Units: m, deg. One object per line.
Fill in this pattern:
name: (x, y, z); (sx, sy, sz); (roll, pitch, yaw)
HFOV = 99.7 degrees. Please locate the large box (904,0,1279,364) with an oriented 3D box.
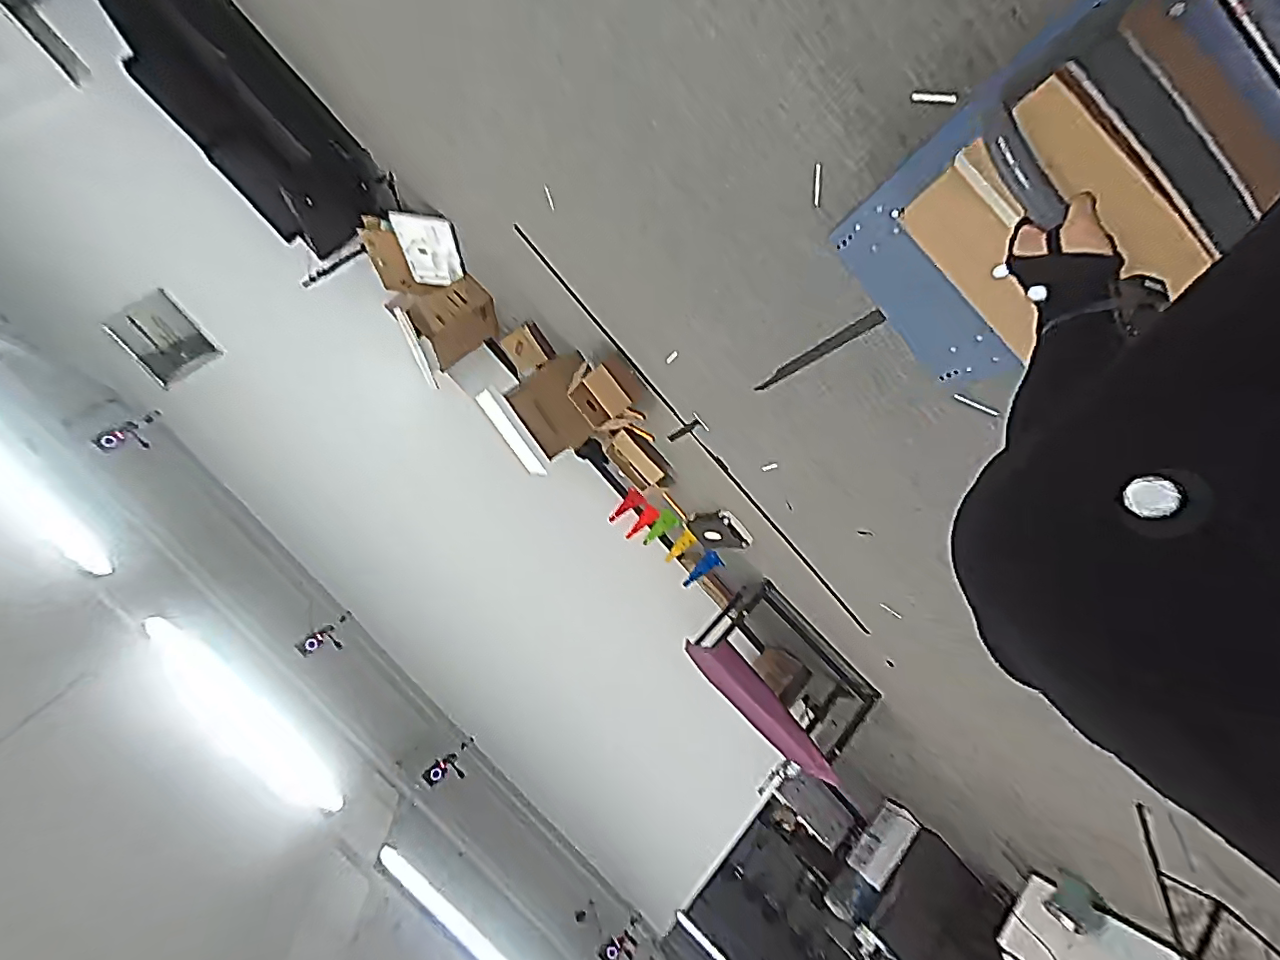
large box: (0.772, -0.486, 0.927); (0.408, 0.320, 0.320); (49, 161, -1)
